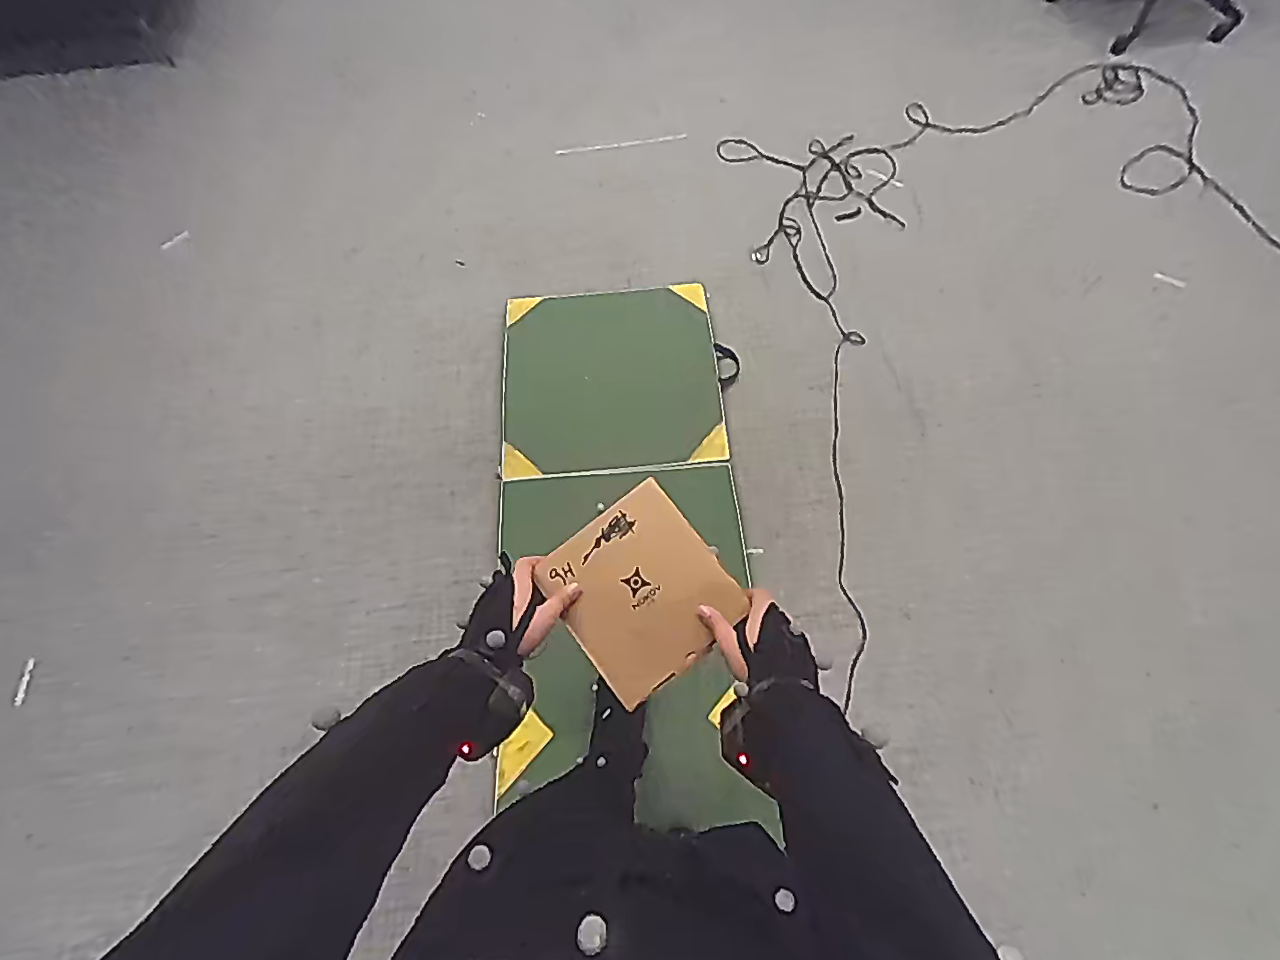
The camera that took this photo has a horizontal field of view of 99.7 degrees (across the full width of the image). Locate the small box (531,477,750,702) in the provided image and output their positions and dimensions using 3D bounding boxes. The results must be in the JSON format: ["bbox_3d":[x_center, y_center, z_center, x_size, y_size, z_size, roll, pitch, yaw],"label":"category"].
[{"bbox_3d":[0.004,0.123,0.637,0.168,0.176,0.179,-37,79,-5],"label":"small box"}]
